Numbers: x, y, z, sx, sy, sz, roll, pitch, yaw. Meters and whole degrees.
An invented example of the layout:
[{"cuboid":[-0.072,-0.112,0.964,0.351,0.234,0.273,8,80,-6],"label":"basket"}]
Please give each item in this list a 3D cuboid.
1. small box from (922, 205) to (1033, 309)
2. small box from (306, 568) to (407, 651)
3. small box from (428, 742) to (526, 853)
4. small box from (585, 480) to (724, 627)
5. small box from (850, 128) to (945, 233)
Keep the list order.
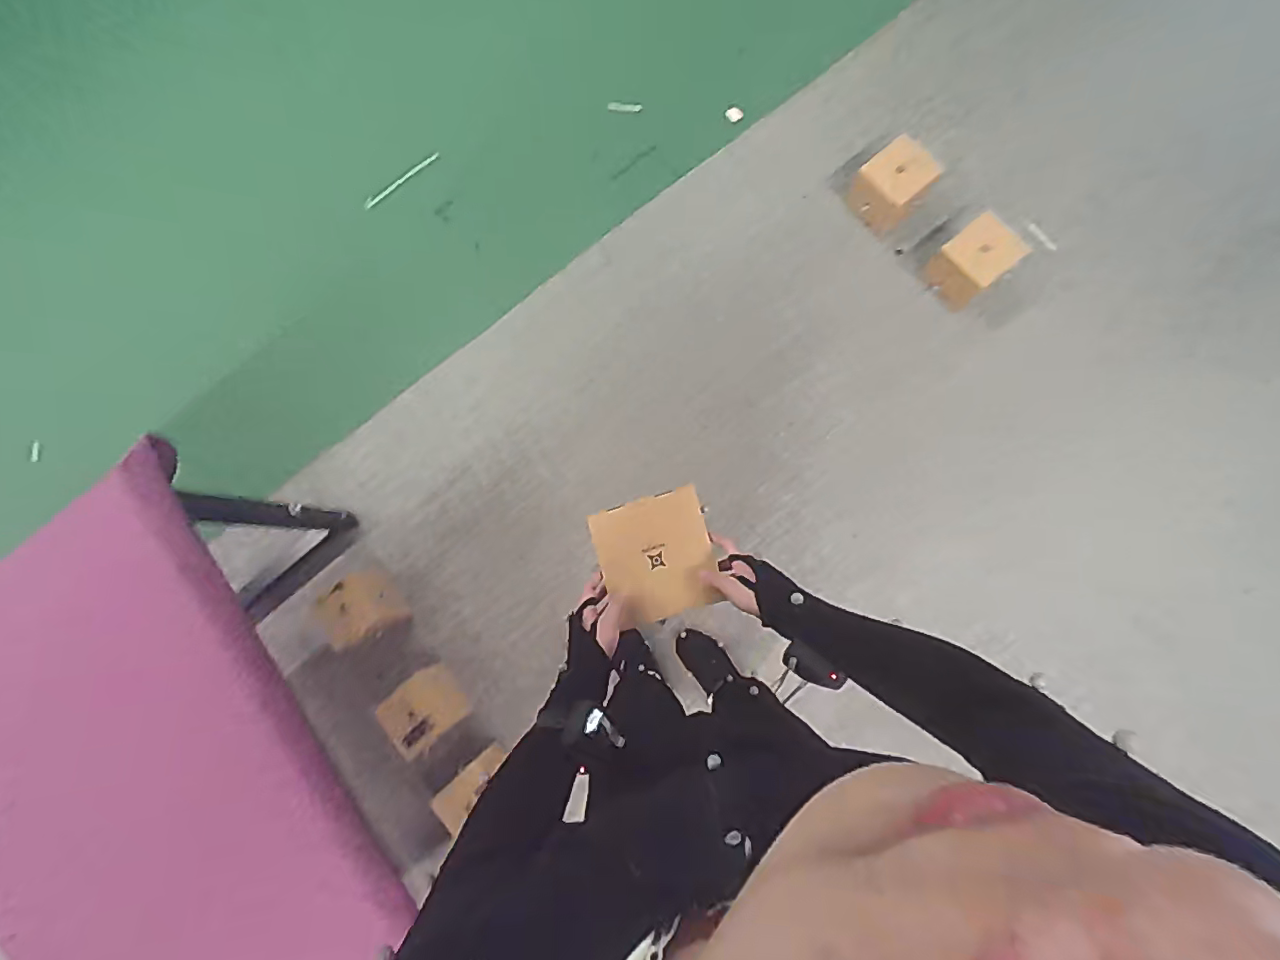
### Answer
[{"cuboid":[0.956,-0.632,1.551,0.179,0.176,0.168,-39,79,0],"label":"small box"},{"cuboid":[-0.833,0.376,1.607,0.168,0.176,0.179,-36,80,0],"label":"small box"},{"cuboid":[-0.437,0.864,1.494,0.179,0.176,0.168,-44,80,-1],"label":"small box"},{"cuboid":[0.027,0.113,0.843,0.168,0.176,0.179,-16,80,2],"label":"small box"},{"cuboid":[0.751,-0.882,1.608,0.179,0.176,0.168,-39,80,0],"label":"small box"}]
